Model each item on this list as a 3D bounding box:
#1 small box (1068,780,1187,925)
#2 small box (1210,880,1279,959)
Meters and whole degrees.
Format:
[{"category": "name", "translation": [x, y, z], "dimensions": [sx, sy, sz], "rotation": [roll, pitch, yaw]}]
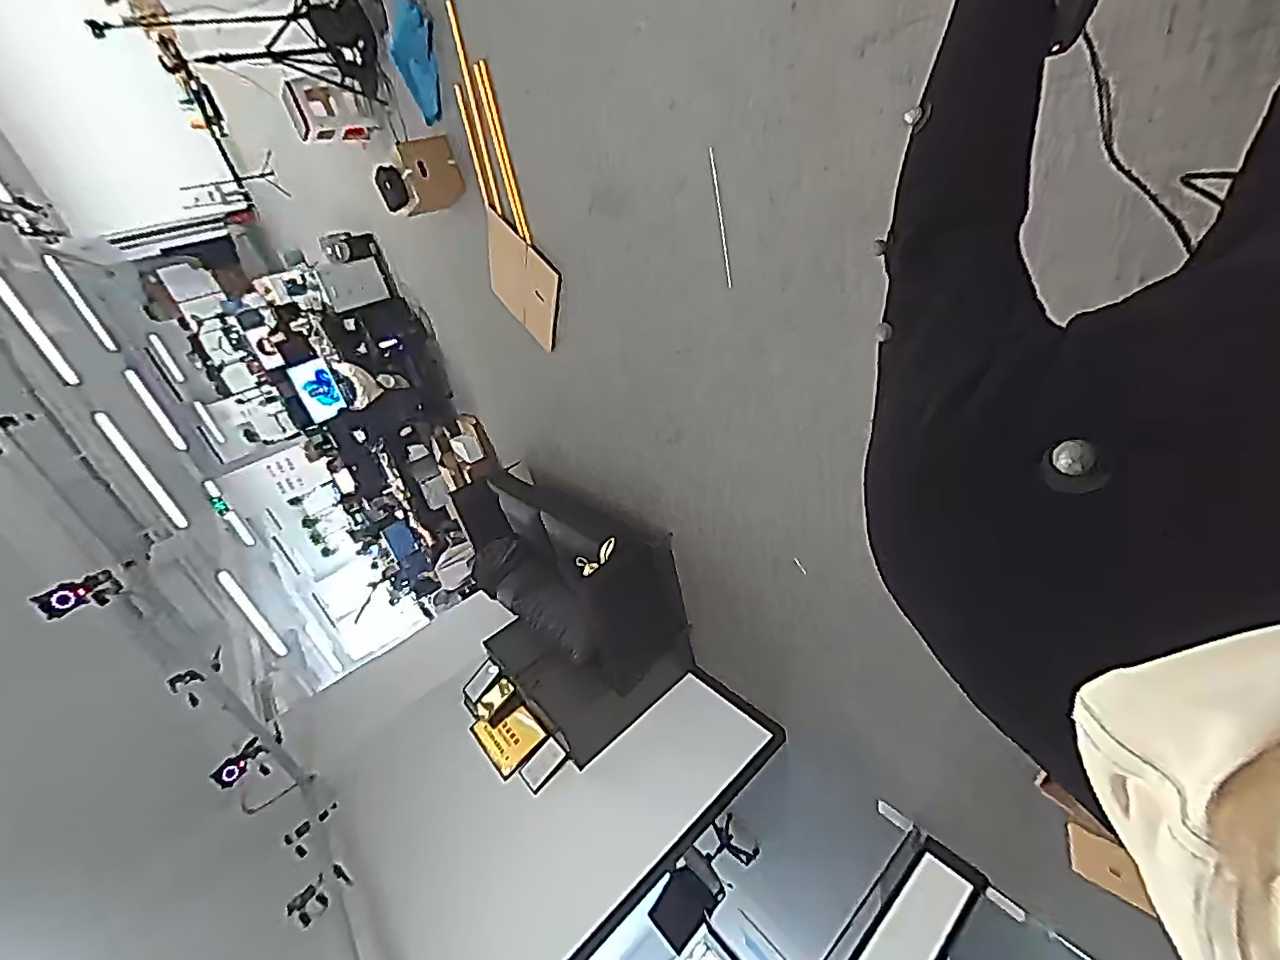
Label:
[{"category": "small box", "translation": [1.107, 0.832, 1.228], "dimensions": [0.168, 0.176, 0.179], "rotation": [11, 127, 55]}, {"category": "small box", "translation": [1.282, 0.948, 1.062], "dimensions": [0.168, 0.176, 0.179], "rotation": [27, 139, 45]}]
